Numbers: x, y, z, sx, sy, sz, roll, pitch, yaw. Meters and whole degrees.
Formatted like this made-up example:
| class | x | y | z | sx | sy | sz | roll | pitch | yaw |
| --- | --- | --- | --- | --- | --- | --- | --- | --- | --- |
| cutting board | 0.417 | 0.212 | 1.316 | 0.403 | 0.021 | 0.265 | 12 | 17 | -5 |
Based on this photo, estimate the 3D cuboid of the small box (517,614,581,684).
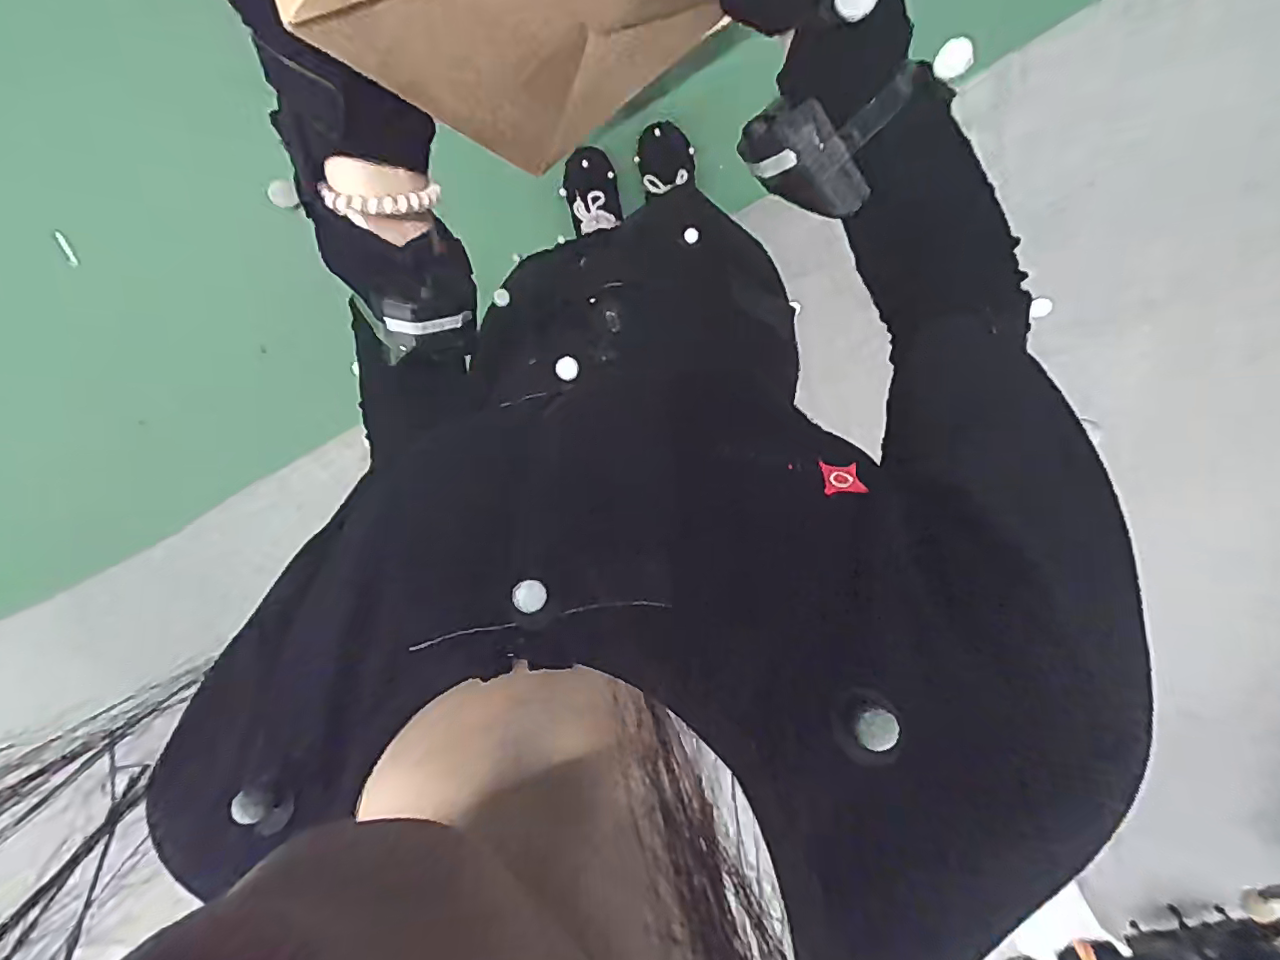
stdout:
| class | x | y | z | sx | sy | sz | roll | pitch | yaw |
| --- | --- | --- | --- | --- | --- | --- | --- | --- | --- |
| small box | -0.340 | 0.637 | 2.055 | 0.179 | 0.176 | 0.168 | -28 | 122 | 19 |
